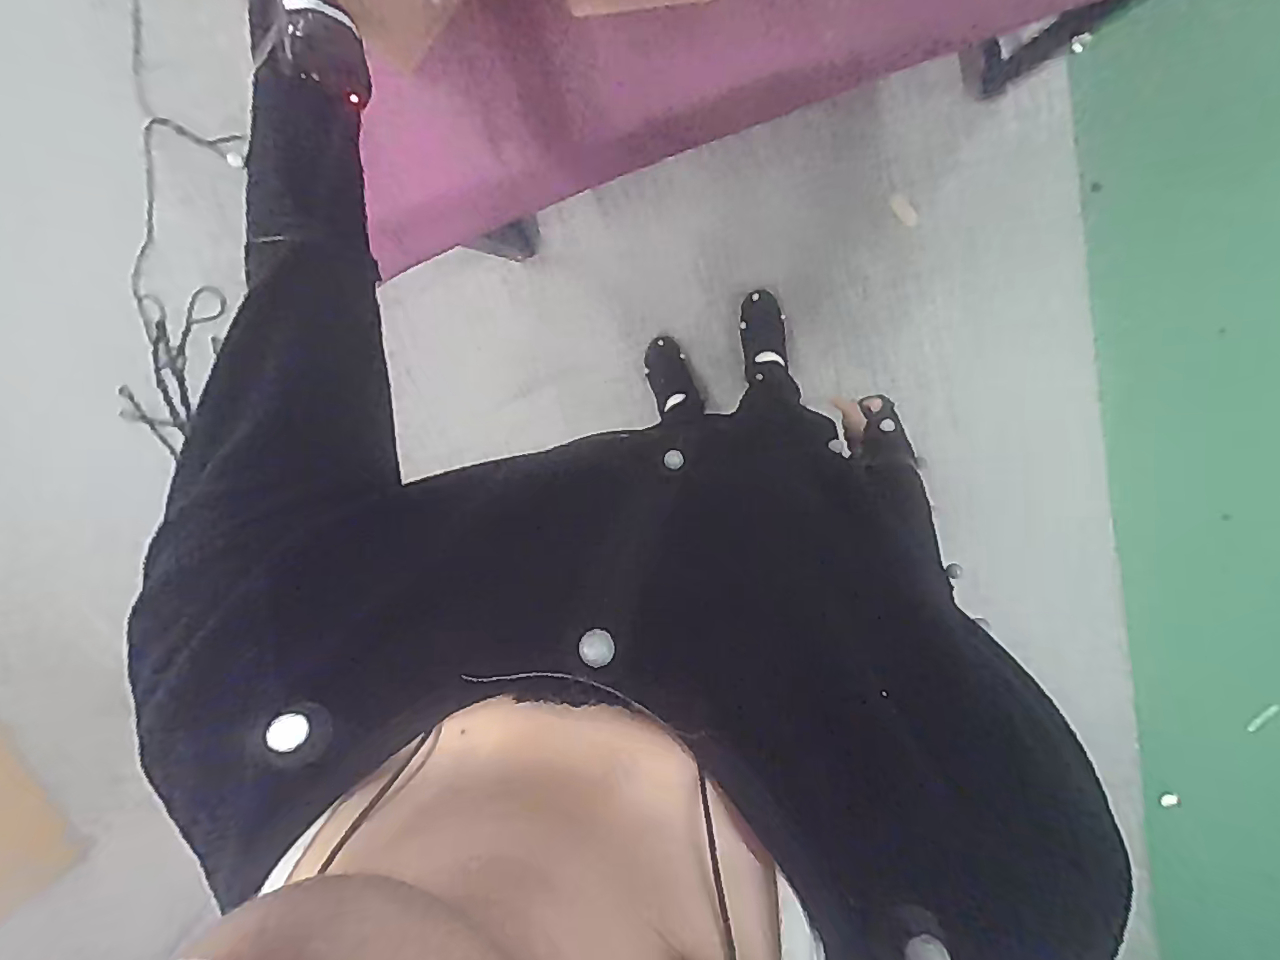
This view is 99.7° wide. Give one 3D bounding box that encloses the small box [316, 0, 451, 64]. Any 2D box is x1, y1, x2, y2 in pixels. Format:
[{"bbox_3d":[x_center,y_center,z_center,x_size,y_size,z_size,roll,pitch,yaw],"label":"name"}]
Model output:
[{"bbox_3d":[-0.289,-0.559,0.516,0.179,0.176,0.168,44,105,-11],"label":"small box"}]
